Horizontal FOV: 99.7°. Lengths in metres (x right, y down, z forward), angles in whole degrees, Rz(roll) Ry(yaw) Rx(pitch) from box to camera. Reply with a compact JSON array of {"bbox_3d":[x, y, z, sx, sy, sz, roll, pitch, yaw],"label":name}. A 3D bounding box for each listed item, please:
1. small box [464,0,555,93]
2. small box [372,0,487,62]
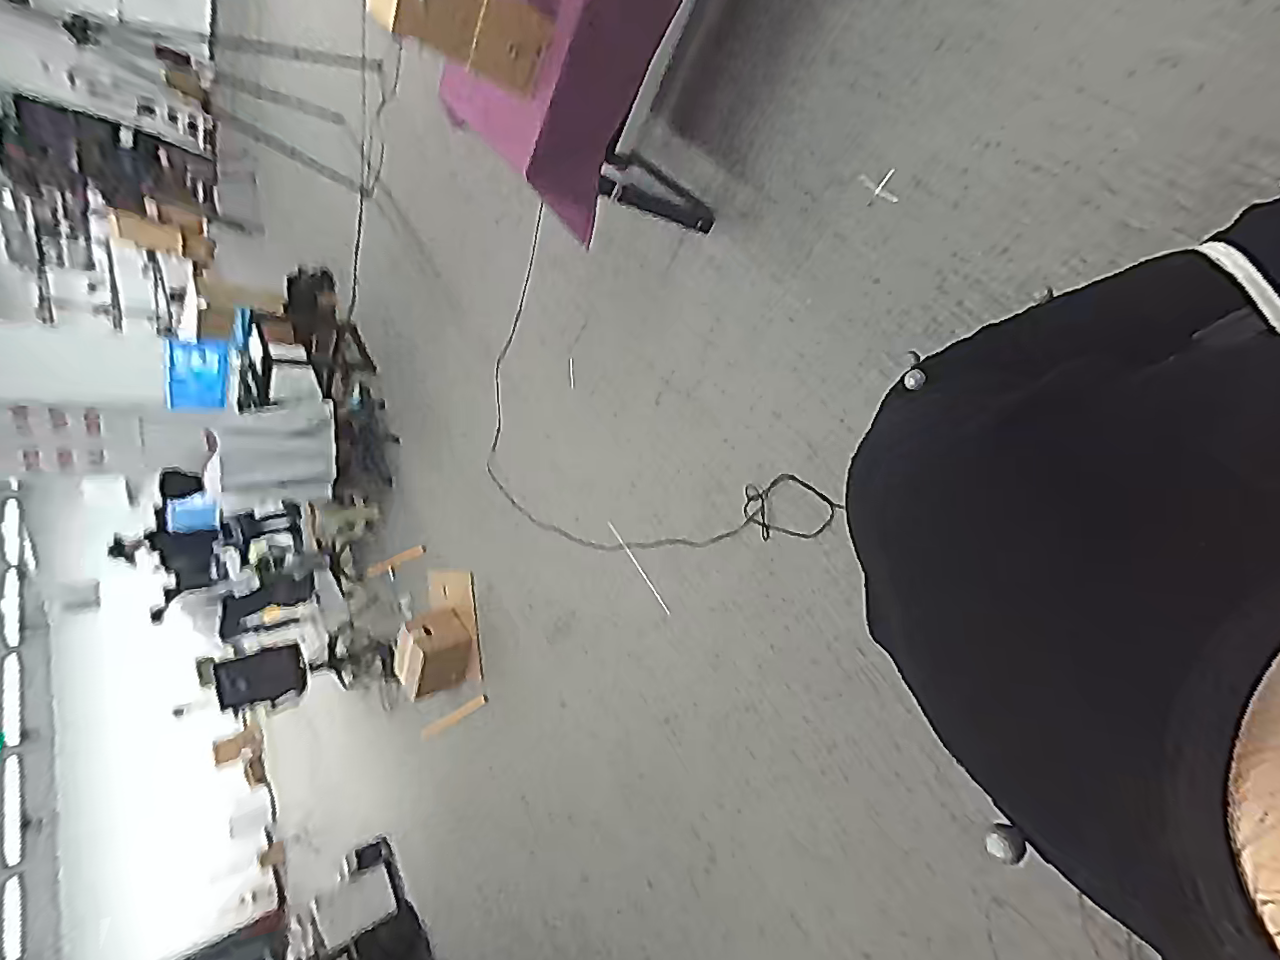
[{"bbox_3d":[-0.322,-1.039,1.250,0.179,0.176,0.168,55,128,27],"label":"small box"},{"bbox_3d":[-0.437,-1.031,1.134,0.168,0.176,0.179,53,128,26],"label":"small box"}]
